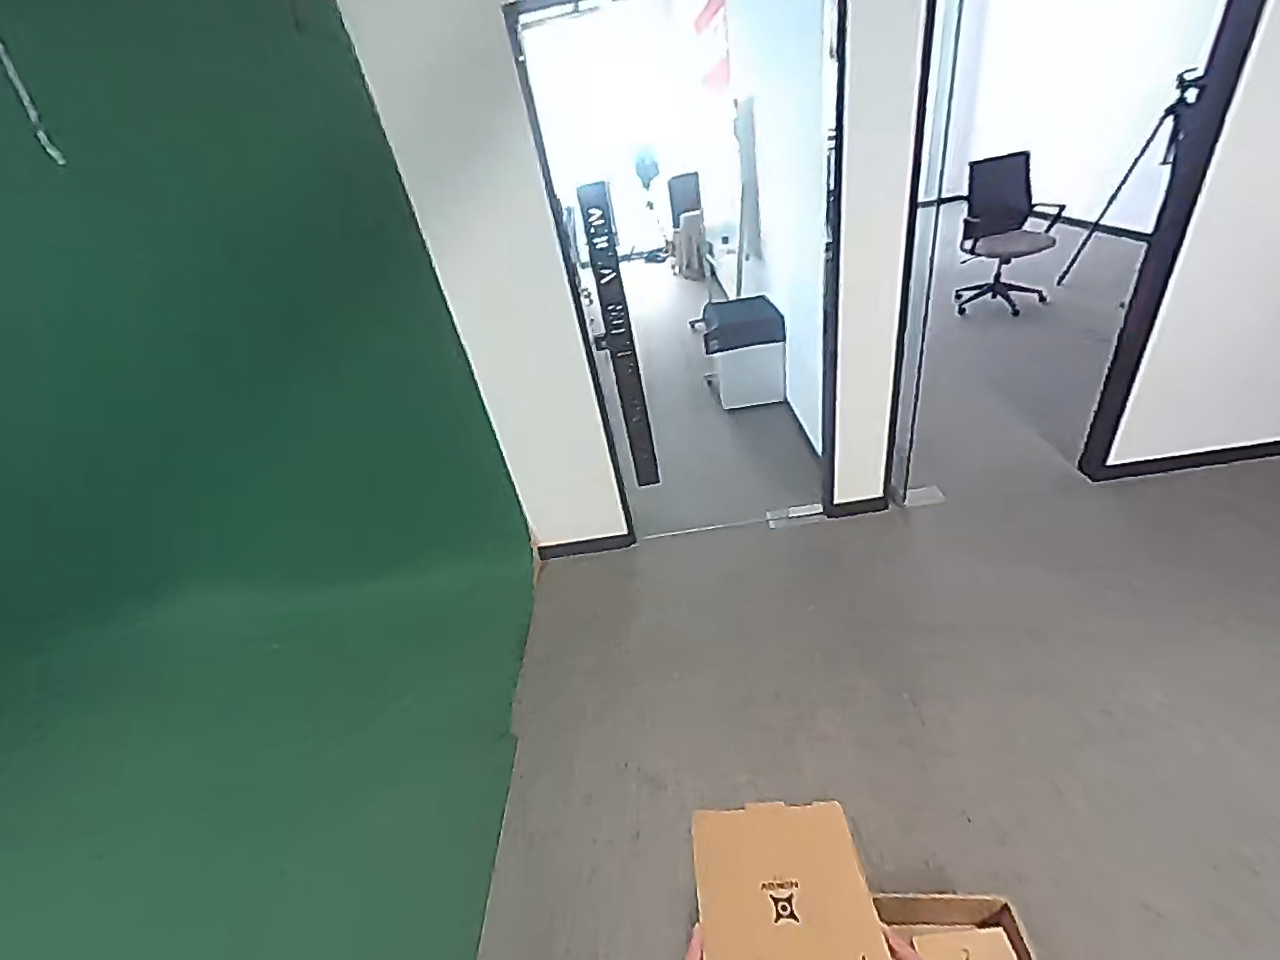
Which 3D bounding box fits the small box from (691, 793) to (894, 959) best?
[{"bbox_3d":[0.144,0.458,0.551,0.168,0.176,0.179,-7,29,3],"label":"small box"}]
